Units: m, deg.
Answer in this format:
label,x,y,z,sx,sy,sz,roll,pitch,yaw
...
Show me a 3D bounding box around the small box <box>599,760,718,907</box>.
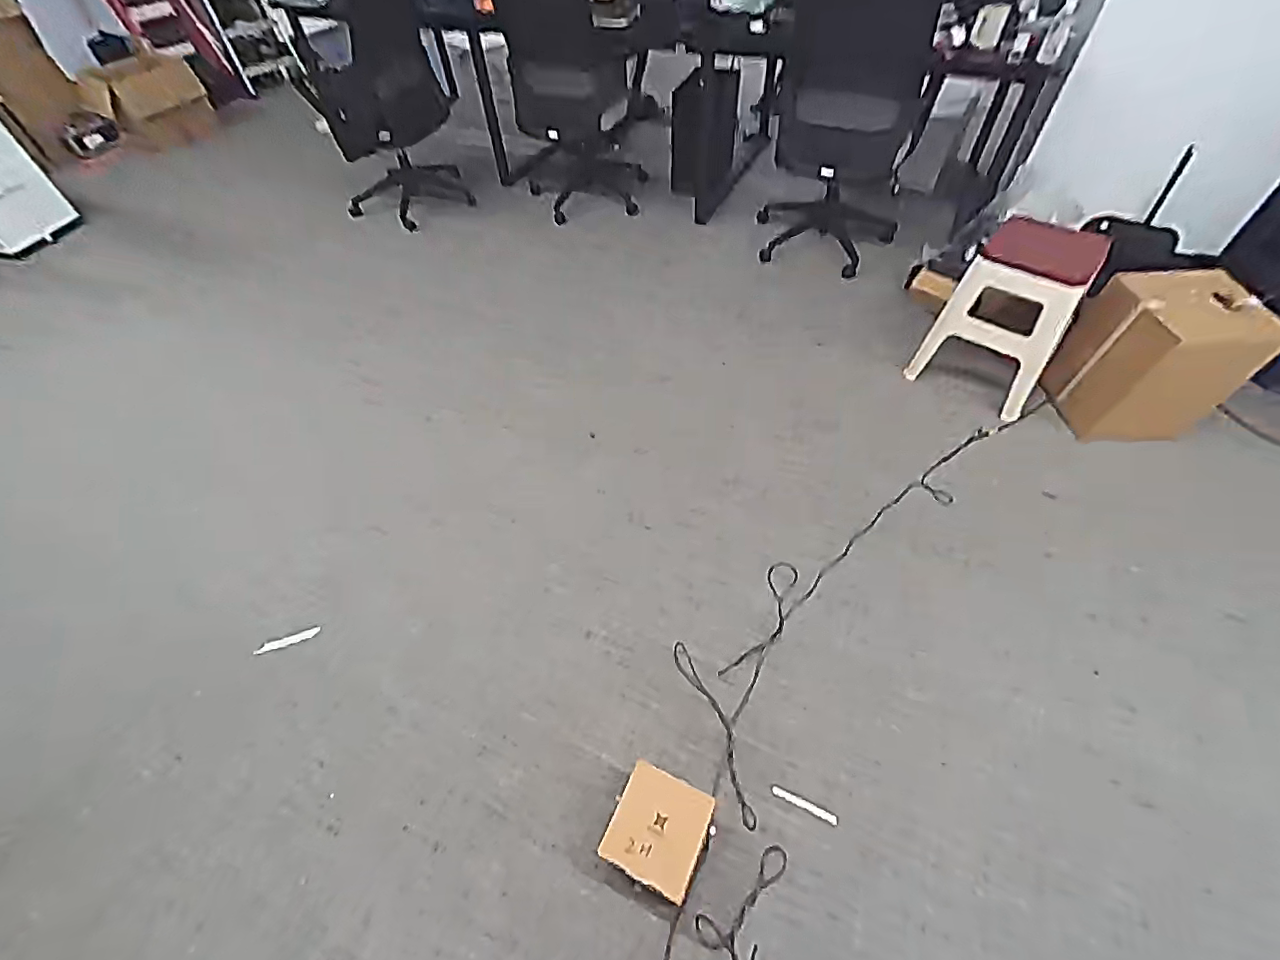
label,x,y,z,sx,sy,sz,roll,pitch,yaw
small box,0.040,0.680,1.041,0.168,0.176,0.179,19,55,20
